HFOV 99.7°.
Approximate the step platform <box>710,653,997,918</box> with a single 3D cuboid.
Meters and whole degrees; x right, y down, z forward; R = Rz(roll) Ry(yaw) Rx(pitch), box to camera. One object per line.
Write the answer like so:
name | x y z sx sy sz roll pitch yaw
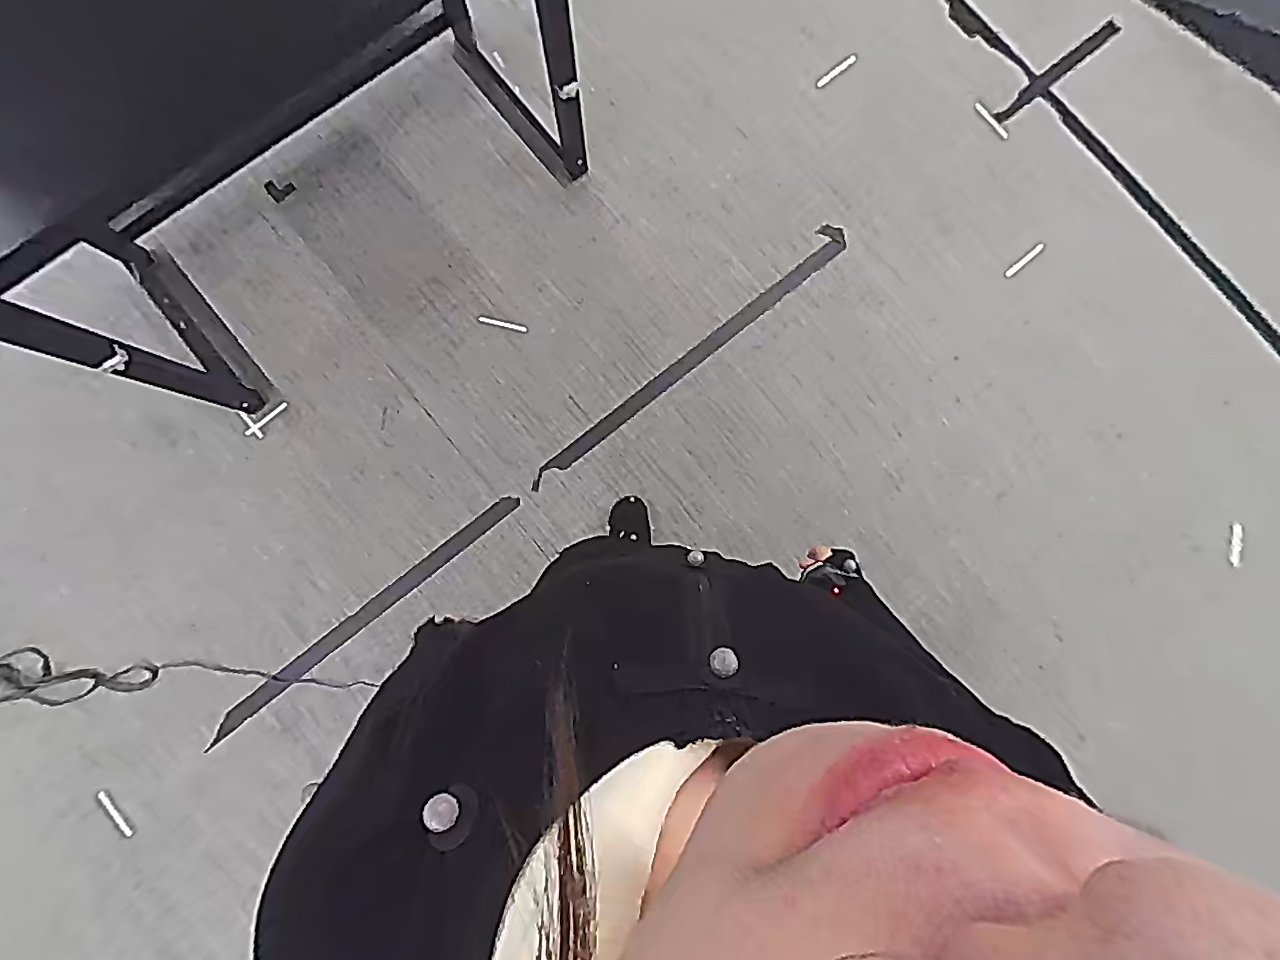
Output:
step platform | 0.525 0.744 1.360 0.684 0.204 0.286 -33 86 -5
